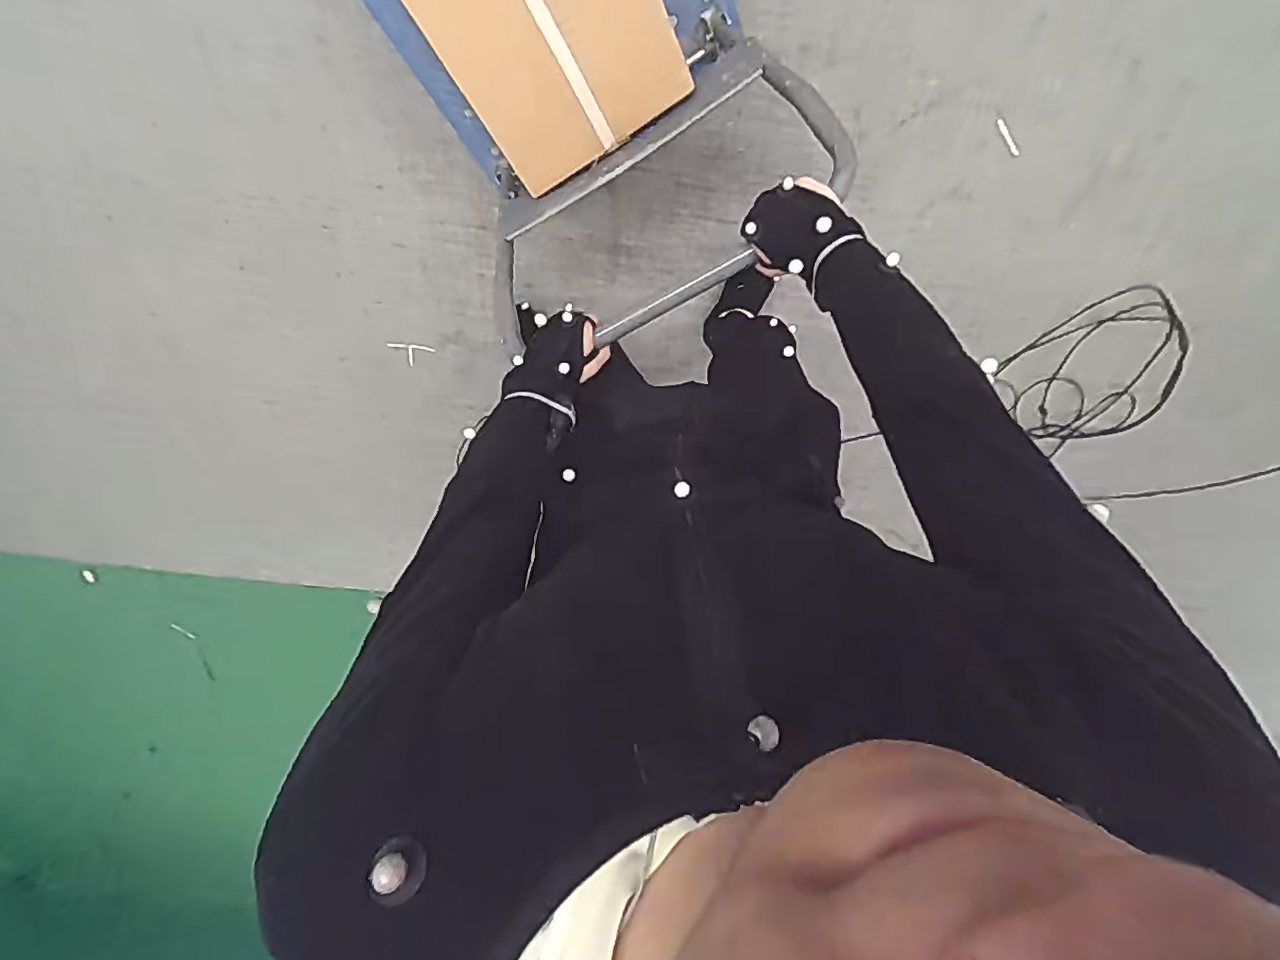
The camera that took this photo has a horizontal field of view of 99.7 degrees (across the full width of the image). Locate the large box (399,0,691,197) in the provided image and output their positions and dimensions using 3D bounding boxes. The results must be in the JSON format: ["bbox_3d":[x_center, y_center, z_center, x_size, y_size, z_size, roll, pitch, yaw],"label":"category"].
[{"bbox_3d":[-0.158,-0.771,0.880,0.320,0.320,0.408,-26,132,17],"label":"large box"}]
